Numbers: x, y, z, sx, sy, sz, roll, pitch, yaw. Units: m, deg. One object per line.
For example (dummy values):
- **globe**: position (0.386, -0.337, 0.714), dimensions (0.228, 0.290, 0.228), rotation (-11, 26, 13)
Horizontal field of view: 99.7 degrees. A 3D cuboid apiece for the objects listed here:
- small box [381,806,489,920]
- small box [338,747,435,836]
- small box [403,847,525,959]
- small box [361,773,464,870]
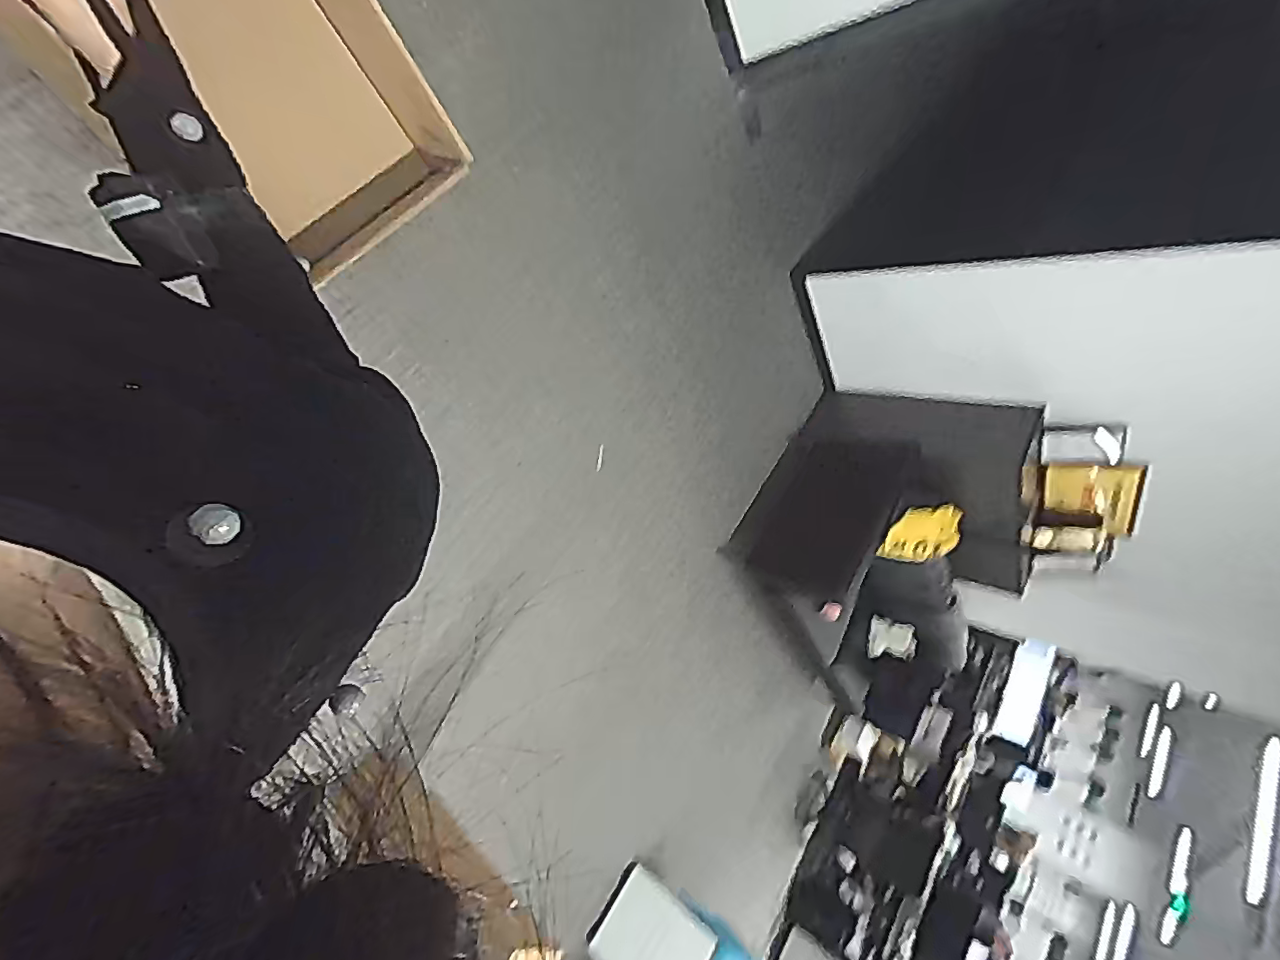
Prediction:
- **small box**: position (-0.529, 0.978, 1.379), dimensions (0.179, 0.176, 0.168), rotation (-56, 134, -19)
- **small box**: position (-0.758, 0.931, 1.608), dimensions (0.179, 0.176, 0.168), rotation (-55, 133, -20)
- **small box**: position (-0.412, 1.001, 1.268), dimensions (0.168, 0.176, 0.179), rotation (-57, 133, -20)
- **small box**: position (-0.636, 0.954, 1.501), dimensions (0.179, 0.176, 0.168), rotation (-55, 132, -21)
